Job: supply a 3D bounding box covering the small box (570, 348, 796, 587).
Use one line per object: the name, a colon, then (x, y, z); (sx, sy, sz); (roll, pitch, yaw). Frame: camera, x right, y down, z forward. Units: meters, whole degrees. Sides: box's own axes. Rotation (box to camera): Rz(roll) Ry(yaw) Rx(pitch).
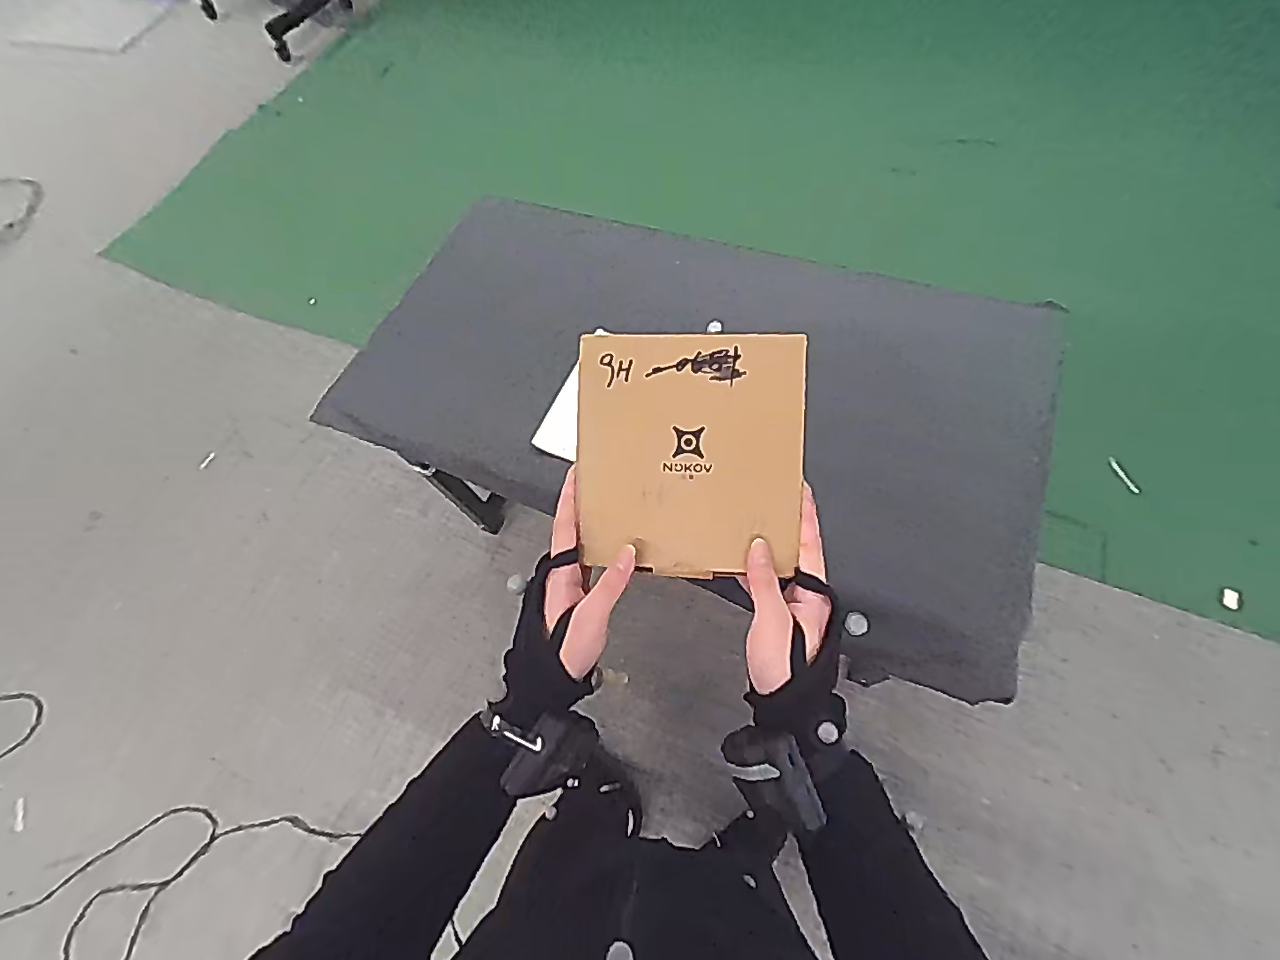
small box: (0.039, -0.015, 0.480); (0.168, 0.176, 0.179); (2, 93, 6)
